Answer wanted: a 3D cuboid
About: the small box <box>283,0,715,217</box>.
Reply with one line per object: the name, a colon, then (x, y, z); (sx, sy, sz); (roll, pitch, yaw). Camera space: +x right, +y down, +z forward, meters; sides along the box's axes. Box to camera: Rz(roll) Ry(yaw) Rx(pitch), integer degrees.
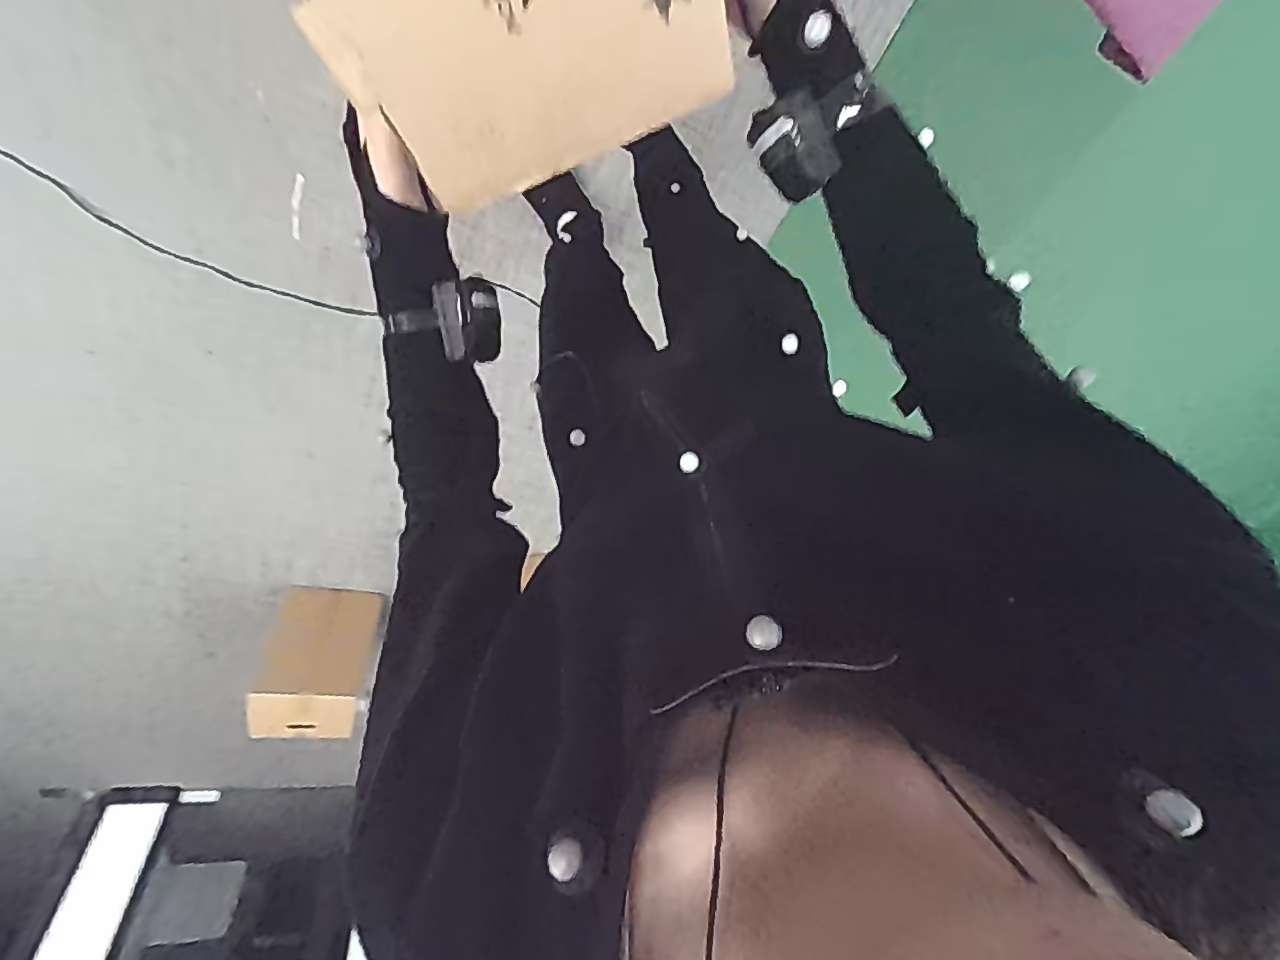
small box: (-0.076, -0.284, 0.283); (0.179, 0.176, 0.168); (-18, 146, 10)
